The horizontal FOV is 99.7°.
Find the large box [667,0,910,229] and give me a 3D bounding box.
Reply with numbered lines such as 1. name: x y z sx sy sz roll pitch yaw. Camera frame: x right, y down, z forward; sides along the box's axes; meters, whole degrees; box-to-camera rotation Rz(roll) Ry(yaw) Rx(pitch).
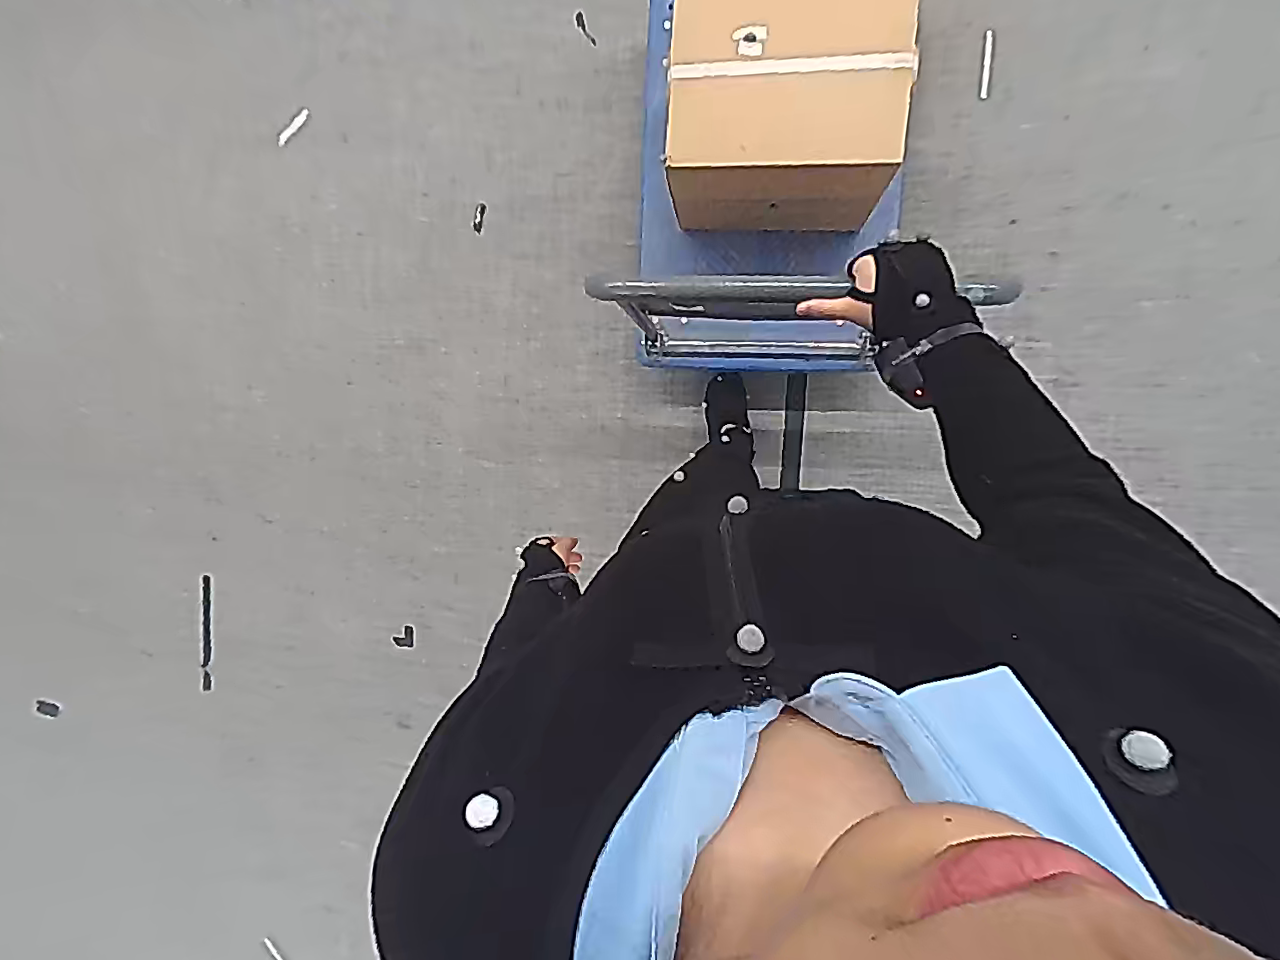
1. large box: 0.279 -0.718 1.085 0.408 0.320 0.320 4 95 11
